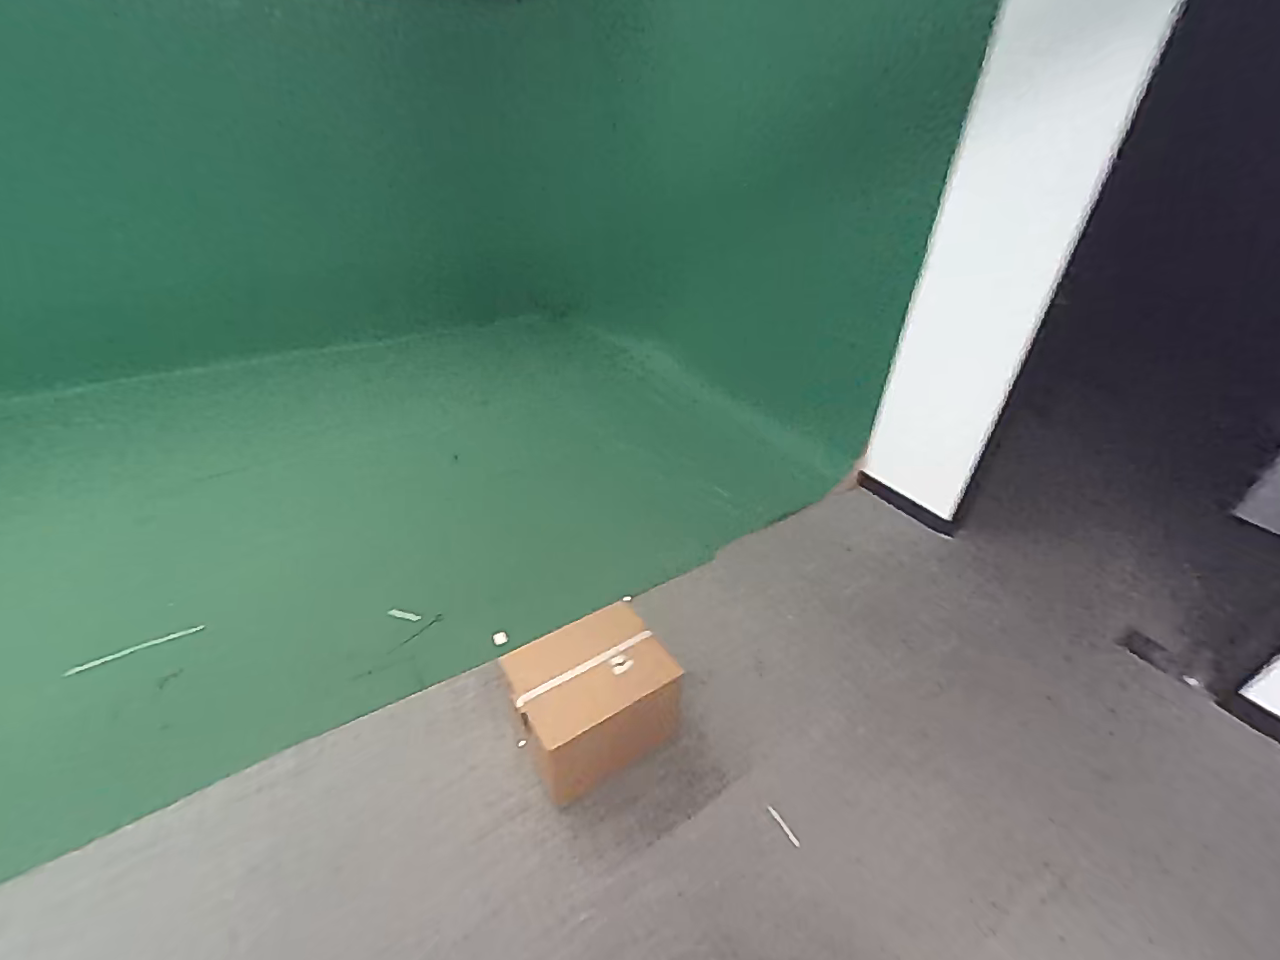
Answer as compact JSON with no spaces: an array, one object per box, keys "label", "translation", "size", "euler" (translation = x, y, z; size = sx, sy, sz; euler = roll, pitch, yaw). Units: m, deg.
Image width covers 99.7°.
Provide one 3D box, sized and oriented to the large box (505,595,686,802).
[{"label":"large box","translation":[-0.124,0.605,1.538],"size":[0.408,0.320,0.320],"euler":[-19,40,-27]}]
